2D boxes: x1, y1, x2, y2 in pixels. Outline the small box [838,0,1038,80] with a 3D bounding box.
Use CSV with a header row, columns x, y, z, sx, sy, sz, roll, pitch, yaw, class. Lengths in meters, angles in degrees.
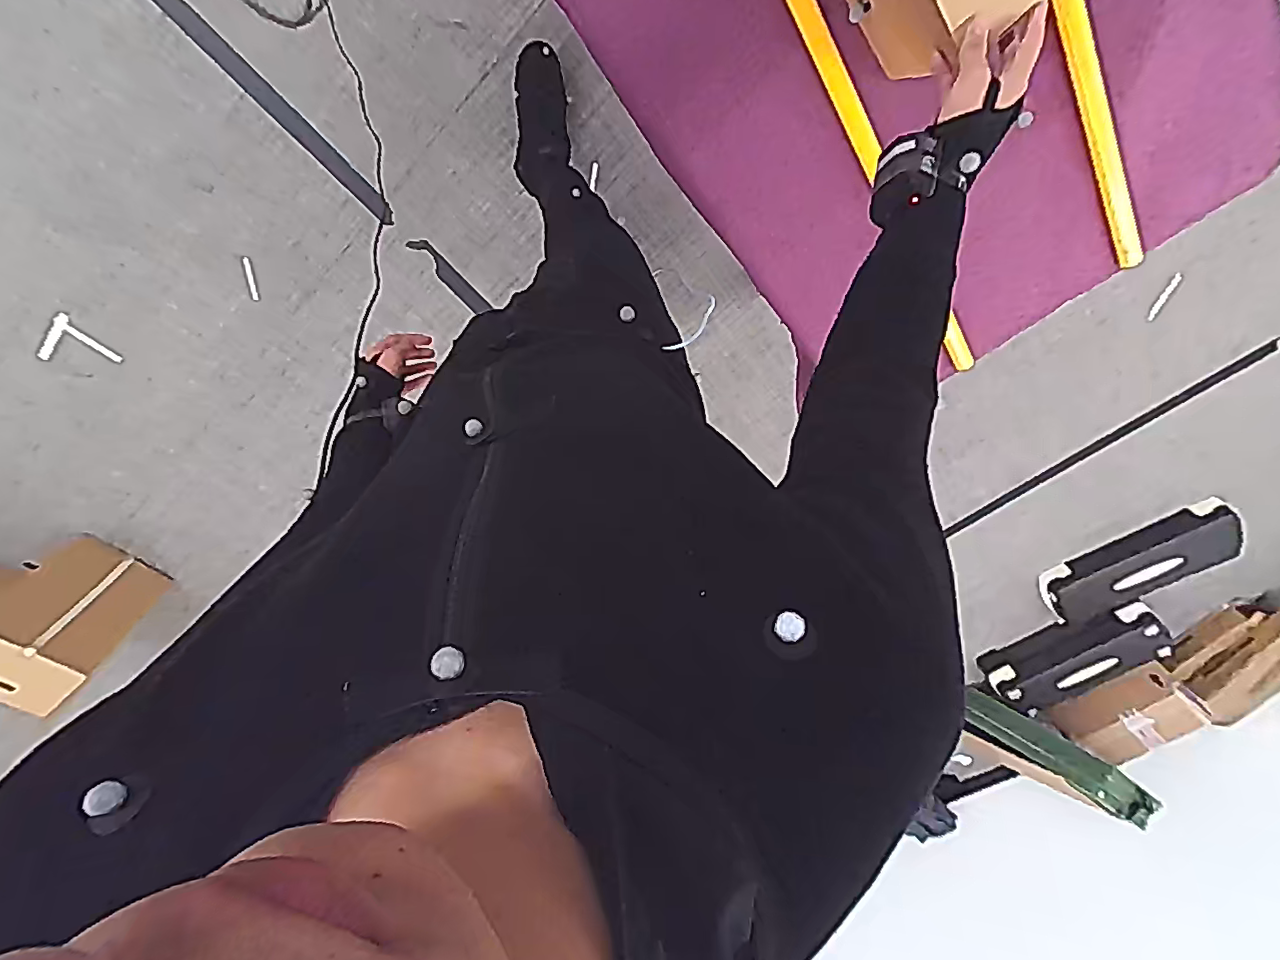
x,y,z,sx,sy,sz,roll,pitch,yaw,class
0.292,-0.525,0.511,0.168,0.176,0.179,-39,119,22,small box
